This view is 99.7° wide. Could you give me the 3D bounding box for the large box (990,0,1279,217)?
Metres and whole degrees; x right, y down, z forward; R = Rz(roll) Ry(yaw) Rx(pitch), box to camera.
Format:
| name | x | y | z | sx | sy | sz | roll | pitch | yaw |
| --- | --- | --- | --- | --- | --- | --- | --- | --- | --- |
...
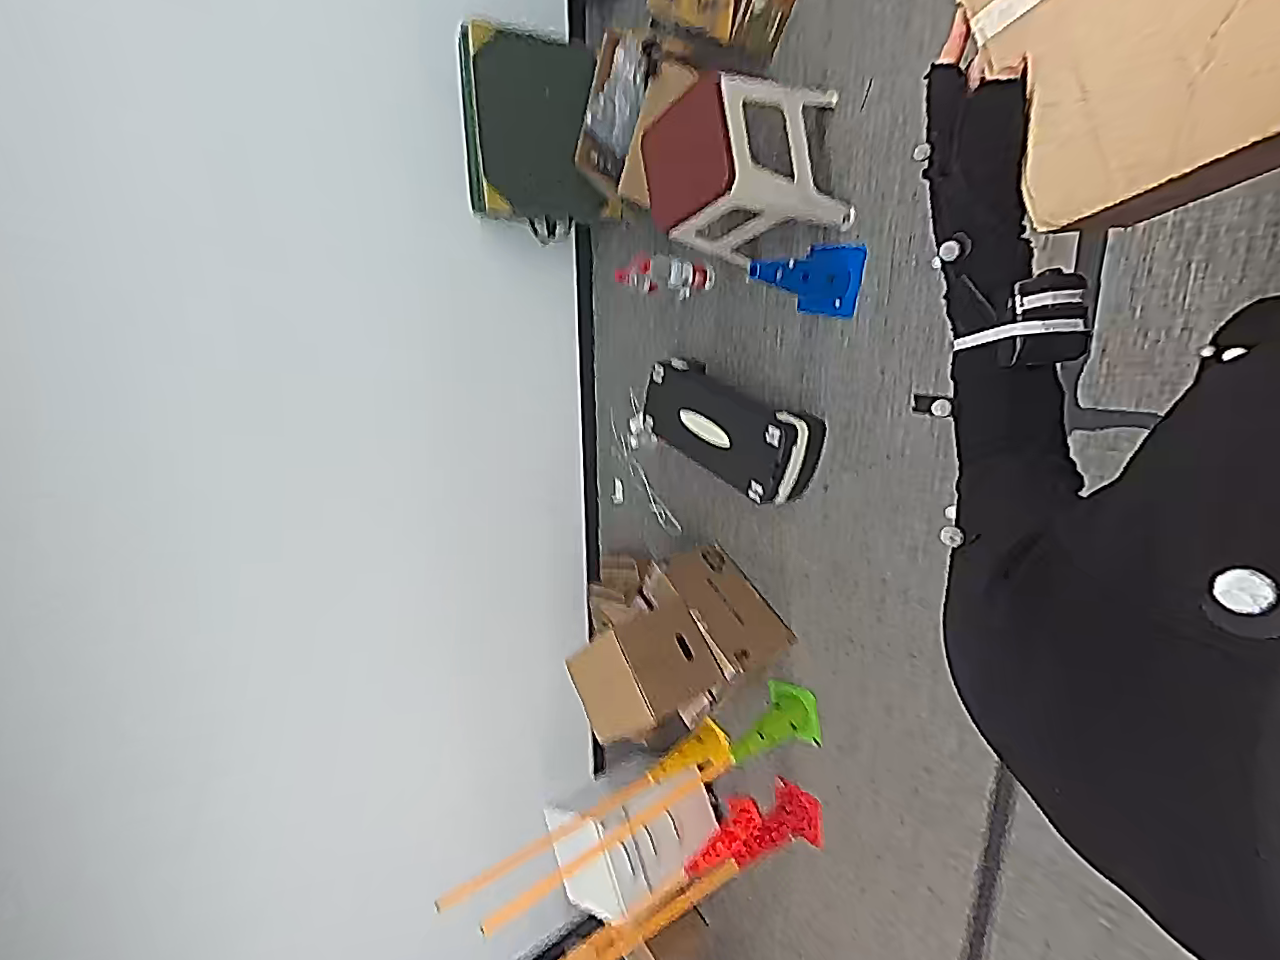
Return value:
| name | x | y | z | sx | sy | sz | roll | pitch | yaw |
| --- | --- | --- | --- | --- | --- | --- | --- | --- | --- |
| large box | 0.484 | -0.413 | 0.330 | 0.408 | 0.320 | 0.320 | -13 | 97 | 53 |
